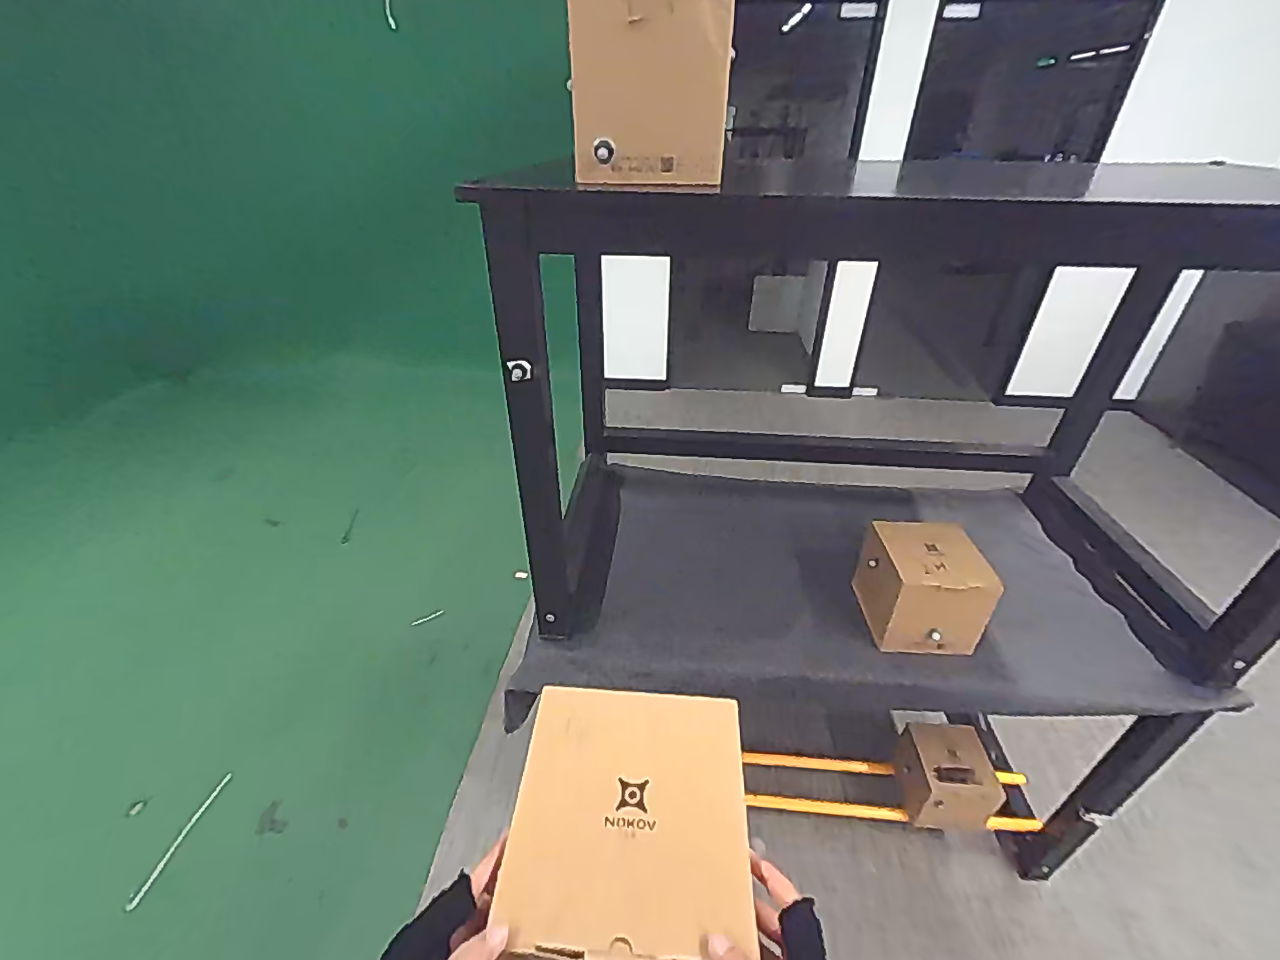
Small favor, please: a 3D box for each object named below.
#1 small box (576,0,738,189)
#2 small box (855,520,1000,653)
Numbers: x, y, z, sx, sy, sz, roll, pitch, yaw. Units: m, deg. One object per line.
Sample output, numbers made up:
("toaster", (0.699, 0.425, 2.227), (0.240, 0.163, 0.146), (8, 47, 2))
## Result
("small box", (0.018, -0.450, 0.647), (0.168, 0.176, 0.179), (1, 33, 0))
("small box", (0.518, 0.194, 1.007), (0.168, 0.176, 0.179), (1, 32, 2))
